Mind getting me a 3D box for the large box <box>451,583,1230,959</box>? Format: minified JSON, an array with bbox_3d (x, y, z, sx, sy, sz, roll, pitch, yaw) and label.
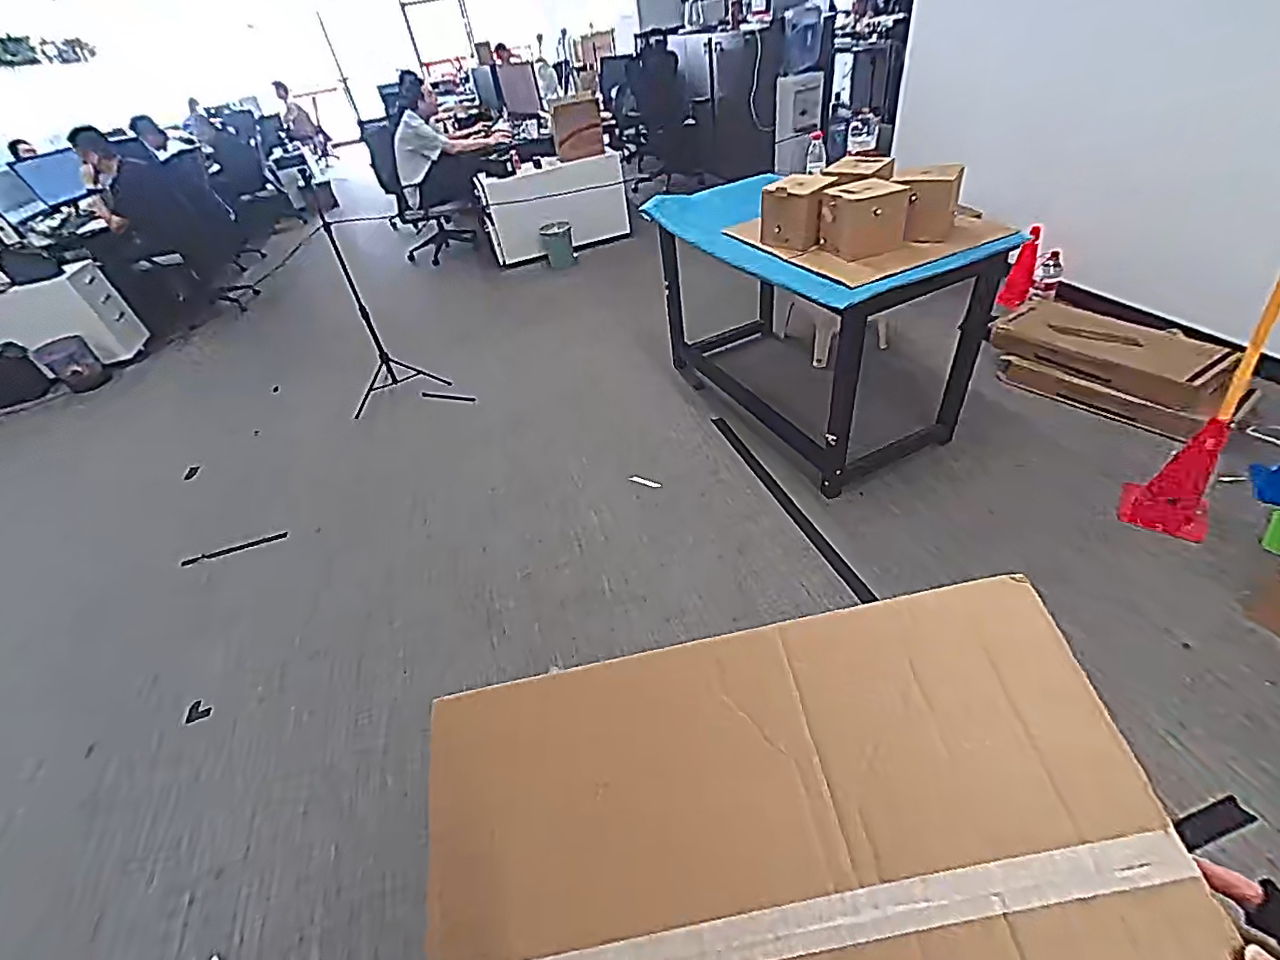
[{"bbox_3d":[0.108,0.317,0.421,0.408,0.320,0.320,-13,60,2],"label":"large box"}]
